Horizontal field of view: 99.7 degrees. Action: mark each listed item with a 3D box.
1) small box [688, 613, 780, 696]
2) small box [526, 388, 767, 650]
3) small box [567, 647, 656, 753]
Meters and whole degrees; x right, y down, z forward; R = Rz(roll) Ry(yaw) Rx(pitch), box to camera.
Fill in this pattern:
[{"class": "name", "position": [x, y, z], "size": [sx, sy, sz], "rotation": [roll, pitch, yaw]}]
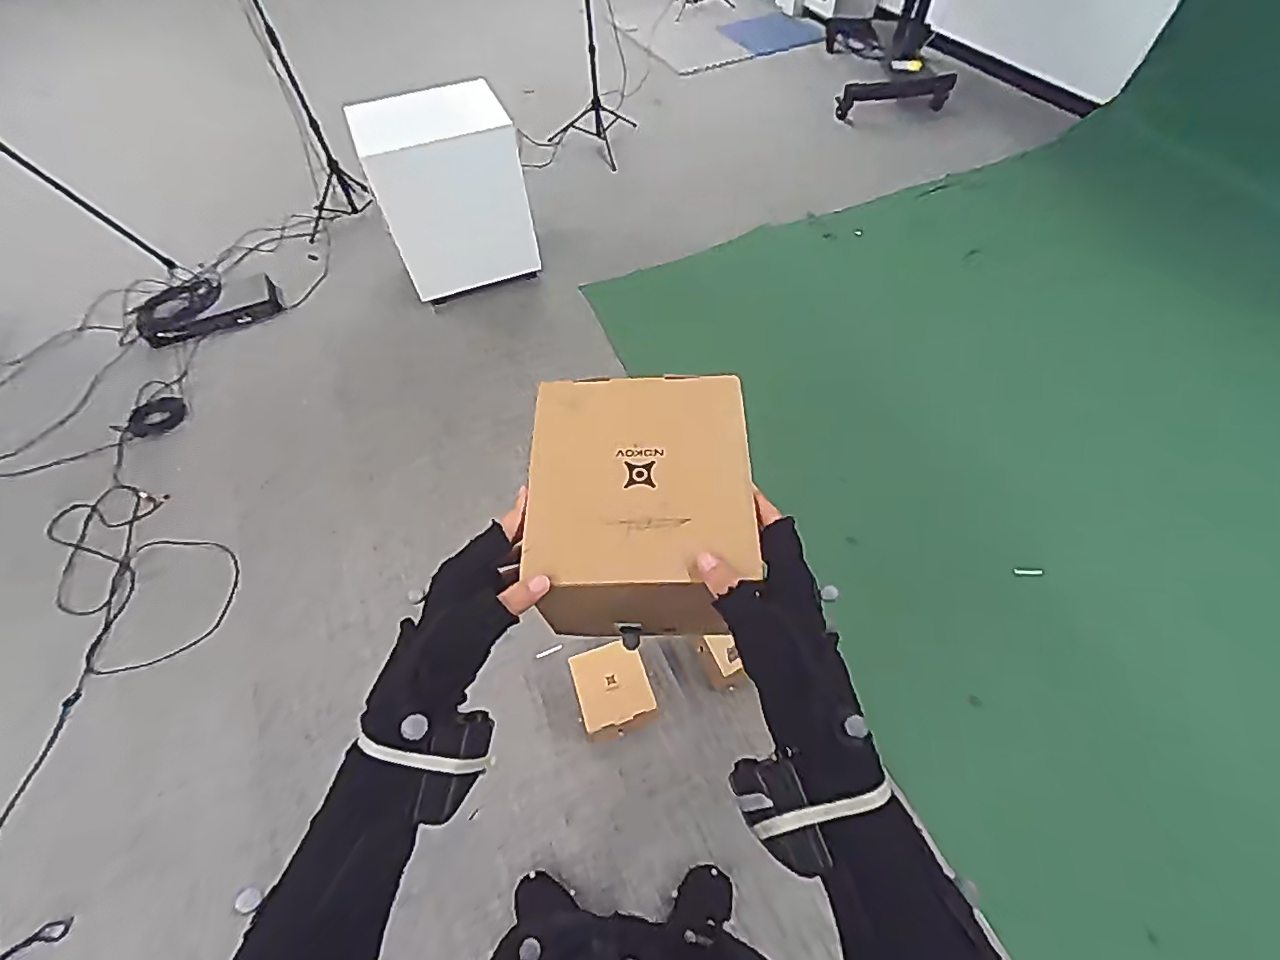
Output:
[{"class": "small box", "position": [0.226, 0.427, 1.366], "size": [0.168, 0.176, 0.179], "rotation": [-21, 57, -13]}, {"class": "small box", "position": [0.006, 0.040, 0.472], "size": [0.168, 0.176, 0.179], "rotation": [-1, 61, 1]}, {"class": "small box", "position": [-0.069, 0.530, 1.301], "size": [0.168, 0.176, 0.179], "rotation": [-17, 58, -11]}]
